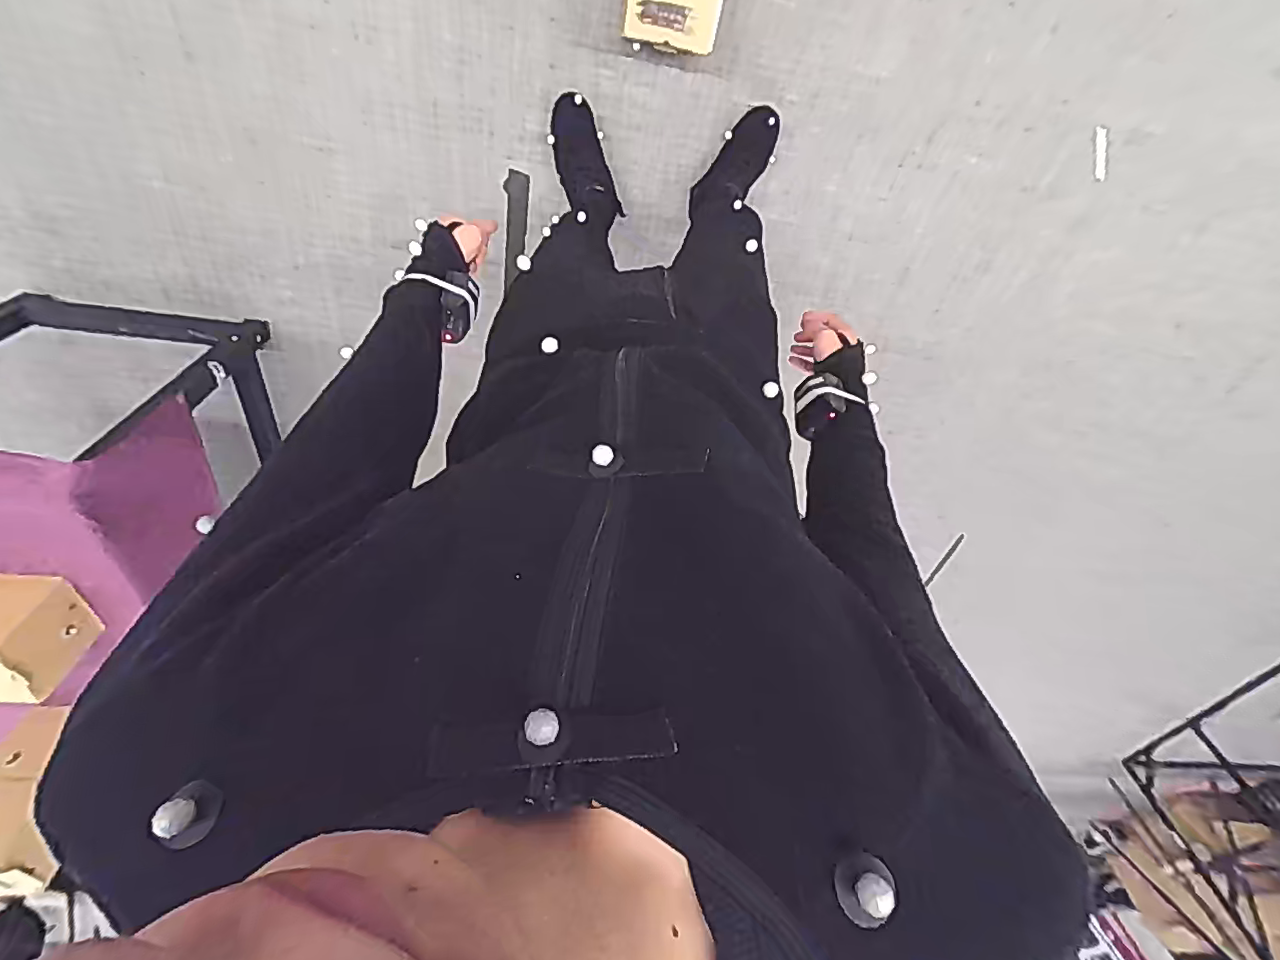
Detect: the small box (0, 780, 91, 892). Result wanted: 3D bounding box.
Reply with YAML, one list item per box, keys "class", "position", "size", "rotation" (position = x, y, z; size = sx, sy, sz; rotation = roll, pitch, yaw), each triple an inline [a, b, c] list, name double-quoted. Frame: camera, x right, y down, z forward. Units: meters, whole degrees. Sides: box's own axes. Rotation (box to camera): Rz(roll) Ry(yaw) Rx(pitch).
- class: "small box"
  position: [-1.358, 0.766, 1.167]
  size: [0.179, 0.176, 0.168]
  rotation: [3, 129, -5]

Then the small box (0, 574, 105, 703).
- class: "small box"
  position: [-1.176, 0.289, 1.002]
  size: [0.179, 0.176, 0.168]
  rotation: [4, 129, -8]
